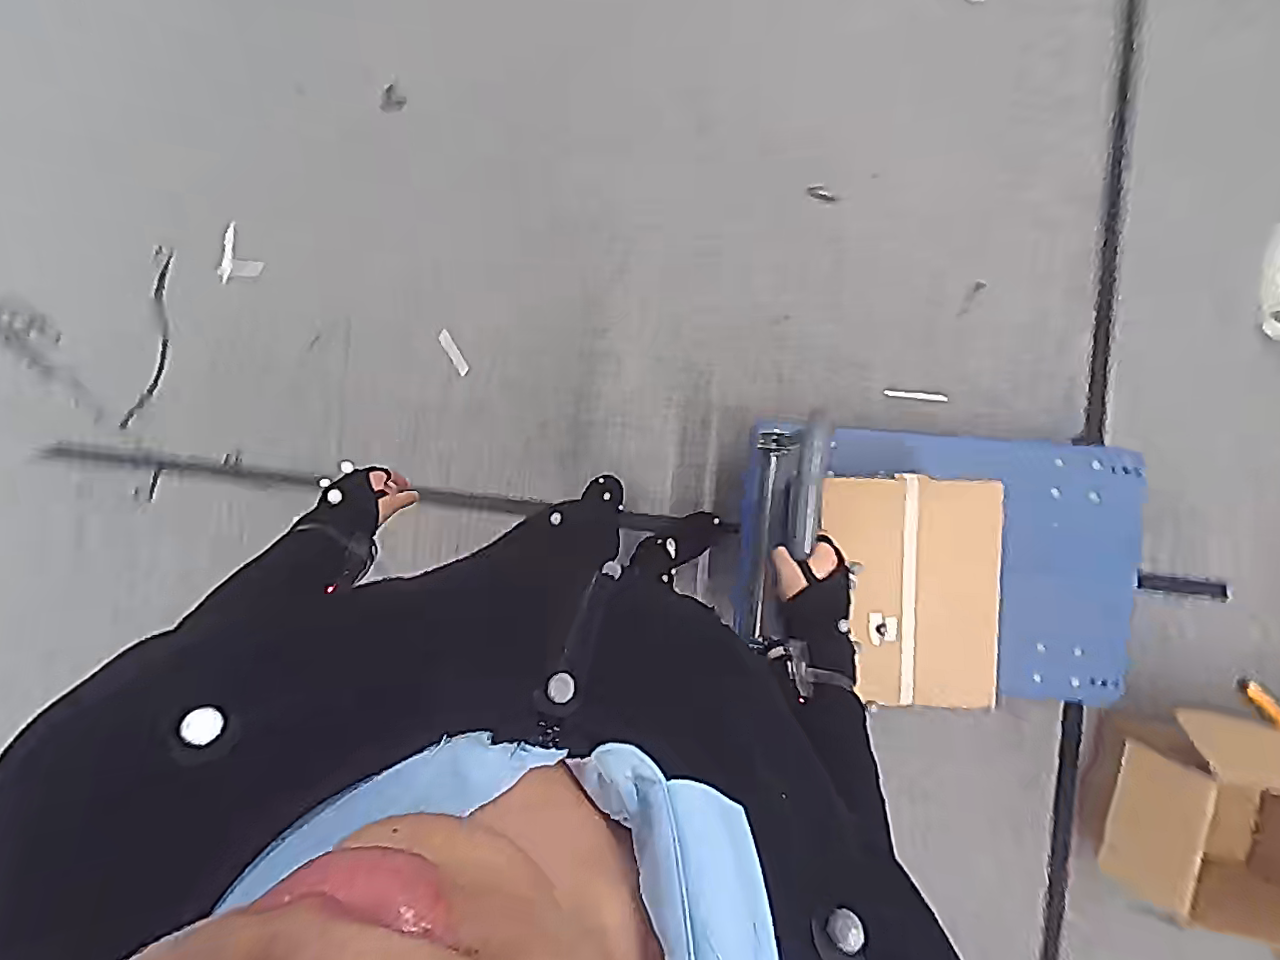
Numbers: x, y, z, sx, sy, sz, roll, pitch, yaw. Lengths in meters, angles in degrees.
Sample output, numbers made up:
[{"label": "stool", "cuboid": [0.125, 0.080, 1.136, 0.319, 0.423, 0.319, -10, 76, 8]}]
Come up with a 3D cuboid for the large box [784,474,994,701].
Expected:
[{"label": "large box", "cuboid": [0.487, 0.192, 1.127, 0.320, 0.320, 0.408, 2, 92, 5]}]
